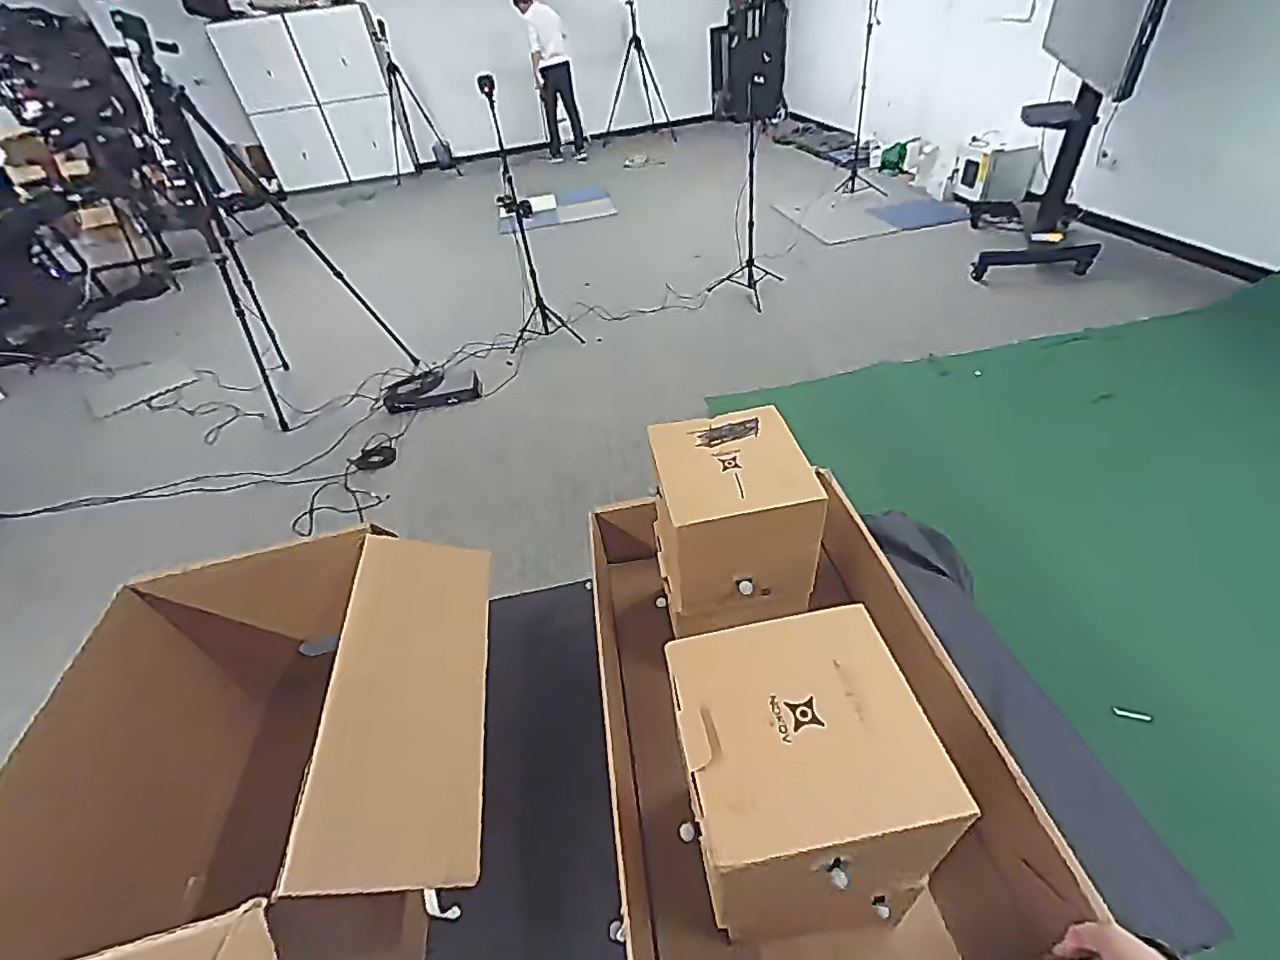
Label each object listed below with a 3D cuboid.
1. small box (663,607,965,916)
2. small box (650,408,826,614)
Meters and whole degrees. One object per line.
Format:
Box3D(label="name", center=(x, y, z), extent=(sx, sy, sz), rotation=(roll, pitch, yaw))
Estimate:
Box3D(label="small box", center=(0.125, 0.237, 0.456), extent=(0.179, 0.176, 0.168), rotation=(-10, 42, -3))
Box3D(label="small box", center=(0.110, 0.038, 0.671), extent=(0.168, 0.176, 0.179), rotation=(-10, 43, -2))
